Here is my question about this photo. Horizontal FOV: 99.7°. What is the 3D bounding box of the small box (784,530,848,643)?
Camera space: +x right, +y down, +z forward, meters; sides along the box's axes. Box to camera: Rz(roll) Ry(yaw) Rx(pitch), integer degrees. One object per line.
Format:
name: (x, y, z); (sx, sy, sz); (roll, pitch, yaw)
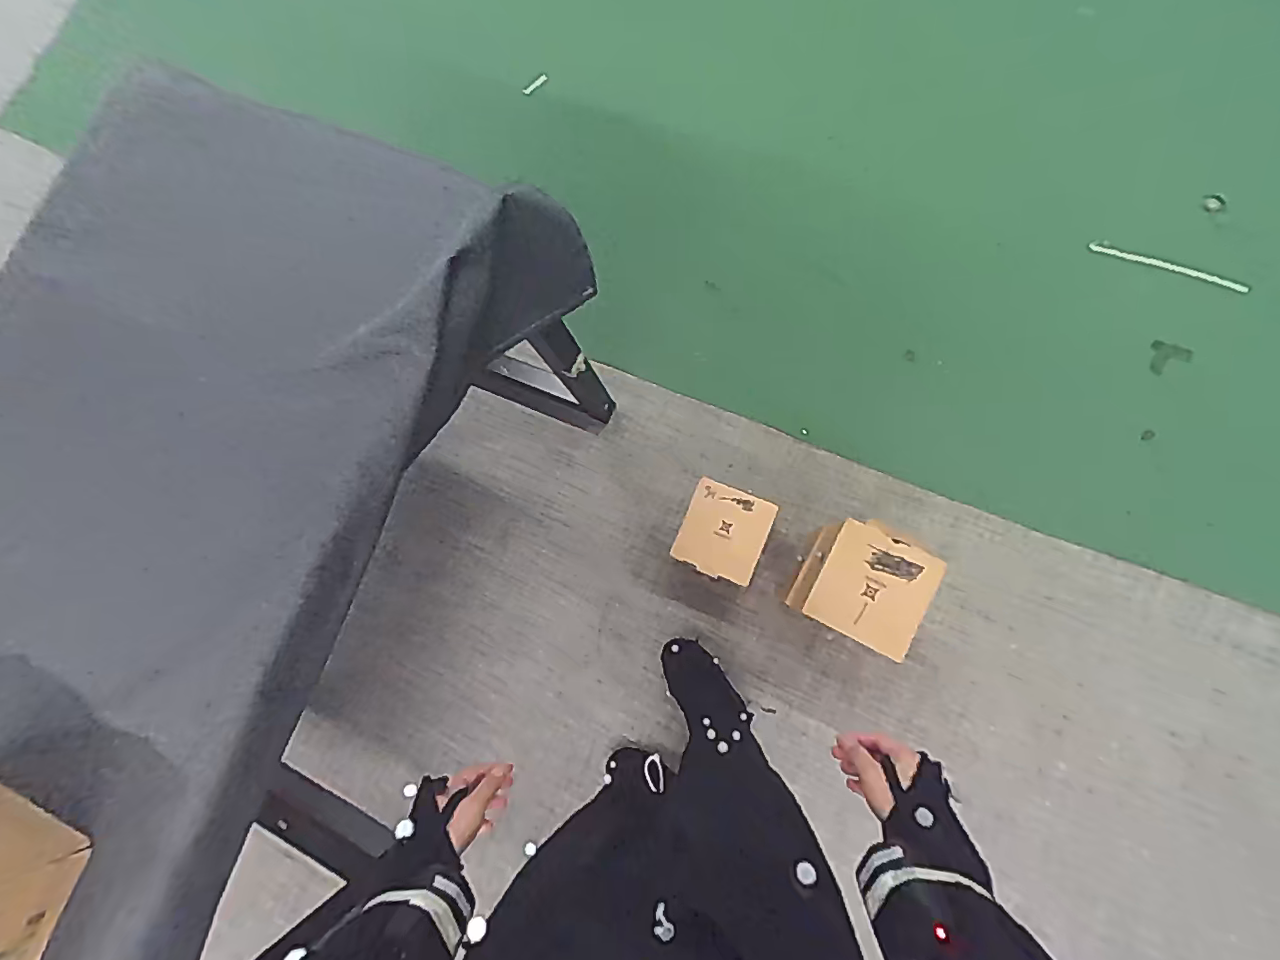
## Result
small box: (0.401, 0.218, 1.086); (0.168, 0.176, 0.179); (27, 85, 14)

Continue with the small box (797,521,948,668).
small box: (0.382, 0.191, 0.925); (0.168, 0.176, 0.179); (26, 85, 14)

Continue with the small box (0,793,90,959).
small box: (-0.653, 0.396, 0.459); (0.179, 0.176, 0.168); (19, 82, 12)
